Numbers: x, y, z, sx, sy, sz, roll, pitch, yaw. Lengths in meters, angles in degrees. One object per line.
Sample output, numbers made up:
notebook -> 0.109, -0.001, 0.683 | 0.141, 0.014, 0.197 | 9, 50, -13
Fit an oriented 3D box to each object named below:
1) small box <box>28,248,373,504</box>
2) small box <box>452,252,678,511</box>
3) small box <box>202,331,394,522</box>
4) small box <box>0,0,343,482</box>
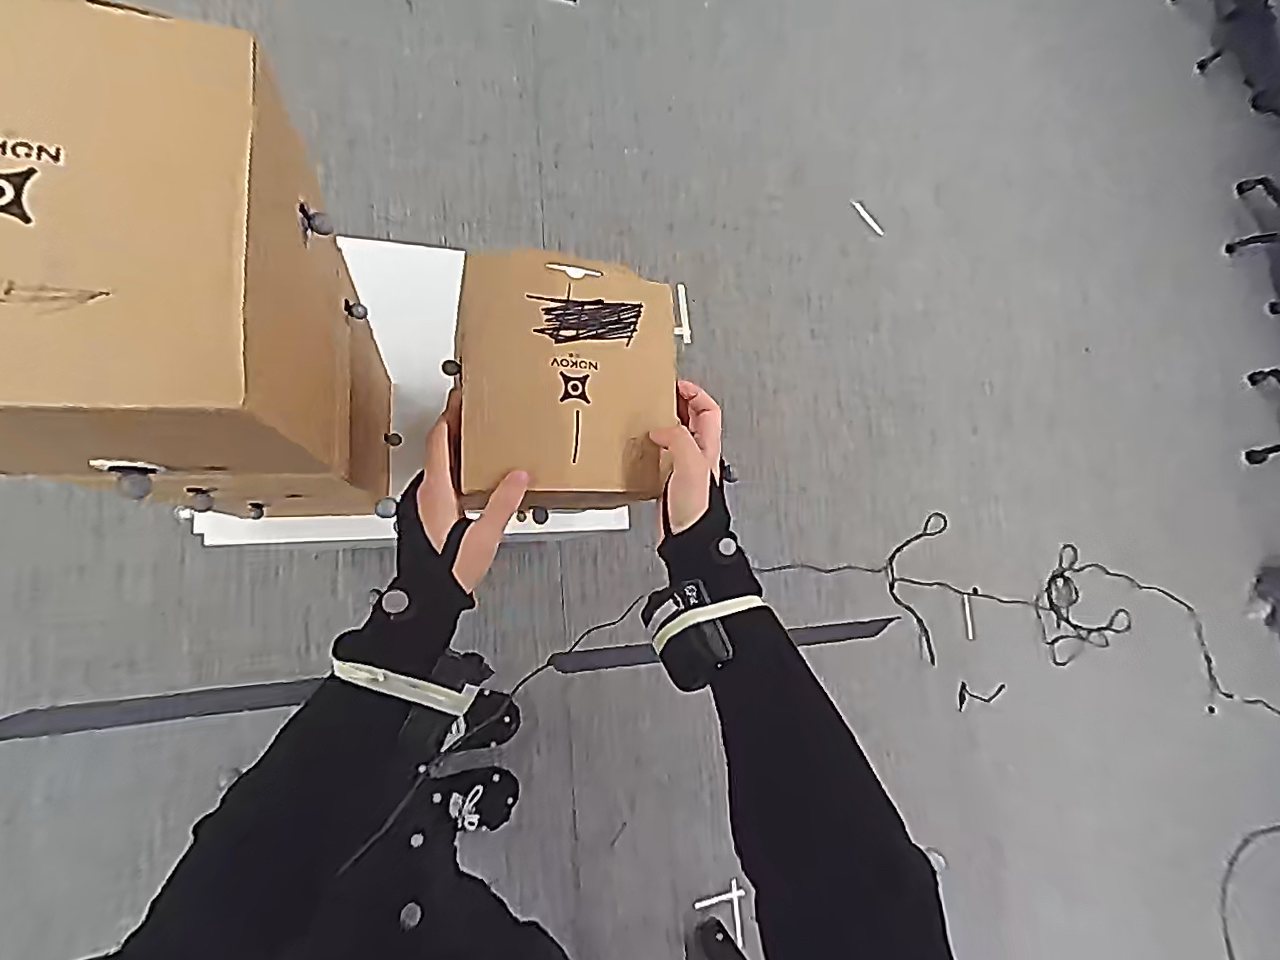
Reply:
small box -> -0.315, -0.073, 0.430 | 0.168, 0.176, 0.179 | -2, 82, -19
small box -> -0.076, -0.067, 0.480 | 0.168, 0.176, 0.179 | 1, 83, -20
small box -> -0.366, -0.051, 0.583 | 0.168, 0.176, 0.179 | 0, 81, -18
small box -> -0.263, -0.098, 0.278 | 0.168, 0.176, 0.179 | -2, 83, -18
